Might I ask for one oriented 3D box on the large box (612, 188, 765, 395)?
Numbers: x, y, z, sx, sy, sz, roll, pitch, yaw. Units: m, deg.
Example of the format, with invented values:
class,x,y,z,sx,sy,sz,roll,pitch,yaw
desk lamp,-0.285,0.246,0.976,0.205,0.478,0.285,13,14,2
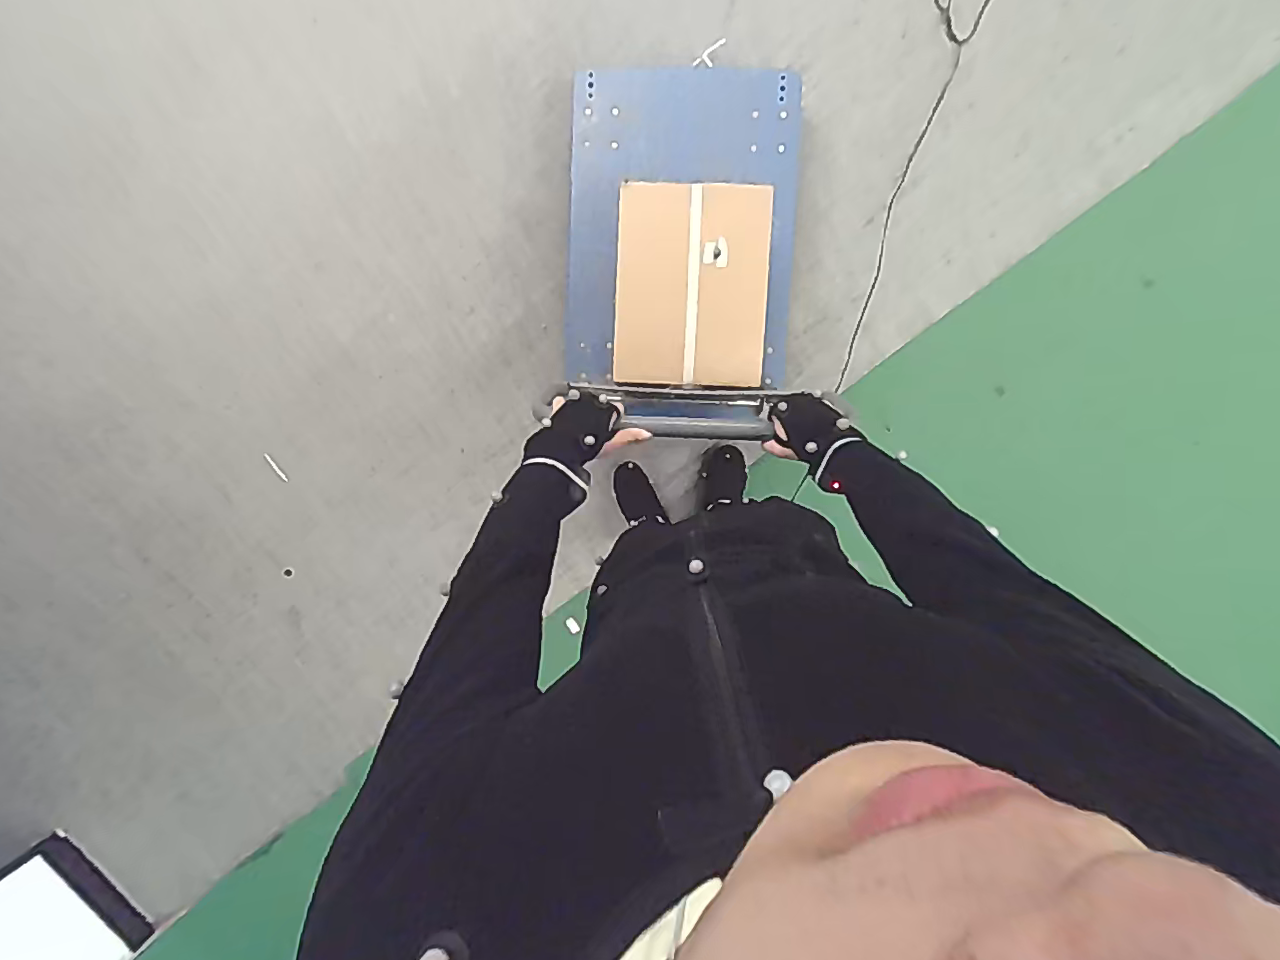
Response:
class,x,y,z,sx,sy,sz,roll,pitch,yaw
large box,0.105,-0.413,1.279,0.320,0.320,0.408,2,95,1
